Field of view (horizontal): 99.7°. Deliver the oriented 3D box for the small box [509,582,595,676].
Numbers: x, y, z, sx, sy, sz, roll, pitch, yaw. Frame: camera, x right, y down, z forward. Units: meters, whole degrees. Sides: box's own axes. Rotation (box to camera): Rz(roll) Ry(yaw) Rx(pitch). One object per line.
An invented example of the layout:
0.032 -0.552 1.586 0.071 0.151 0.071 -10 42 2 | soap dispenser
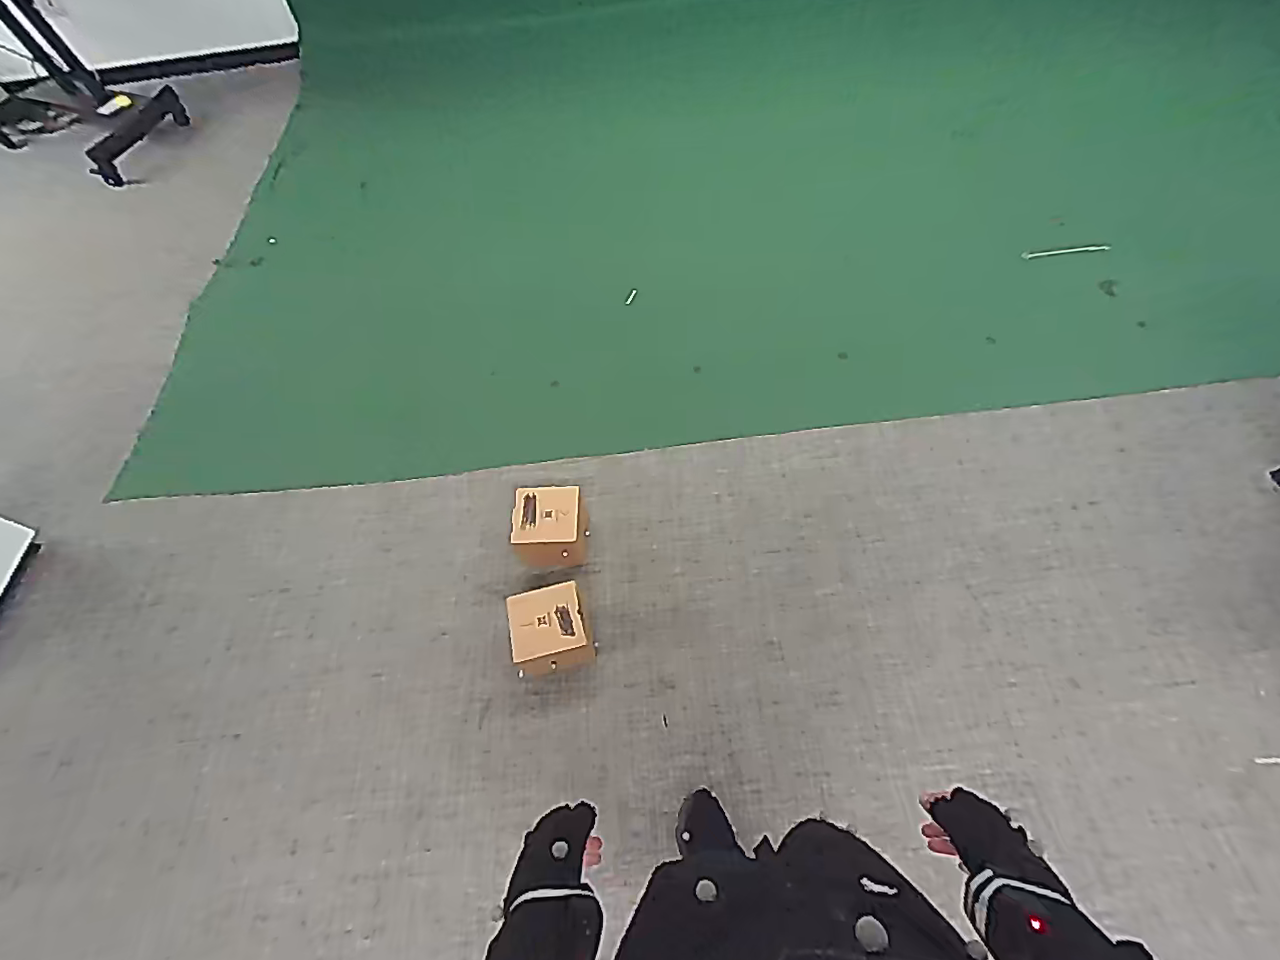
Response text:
-0.216 0.377 1.358 0.179 0.176 0.168 -14 59 -3 | small box
